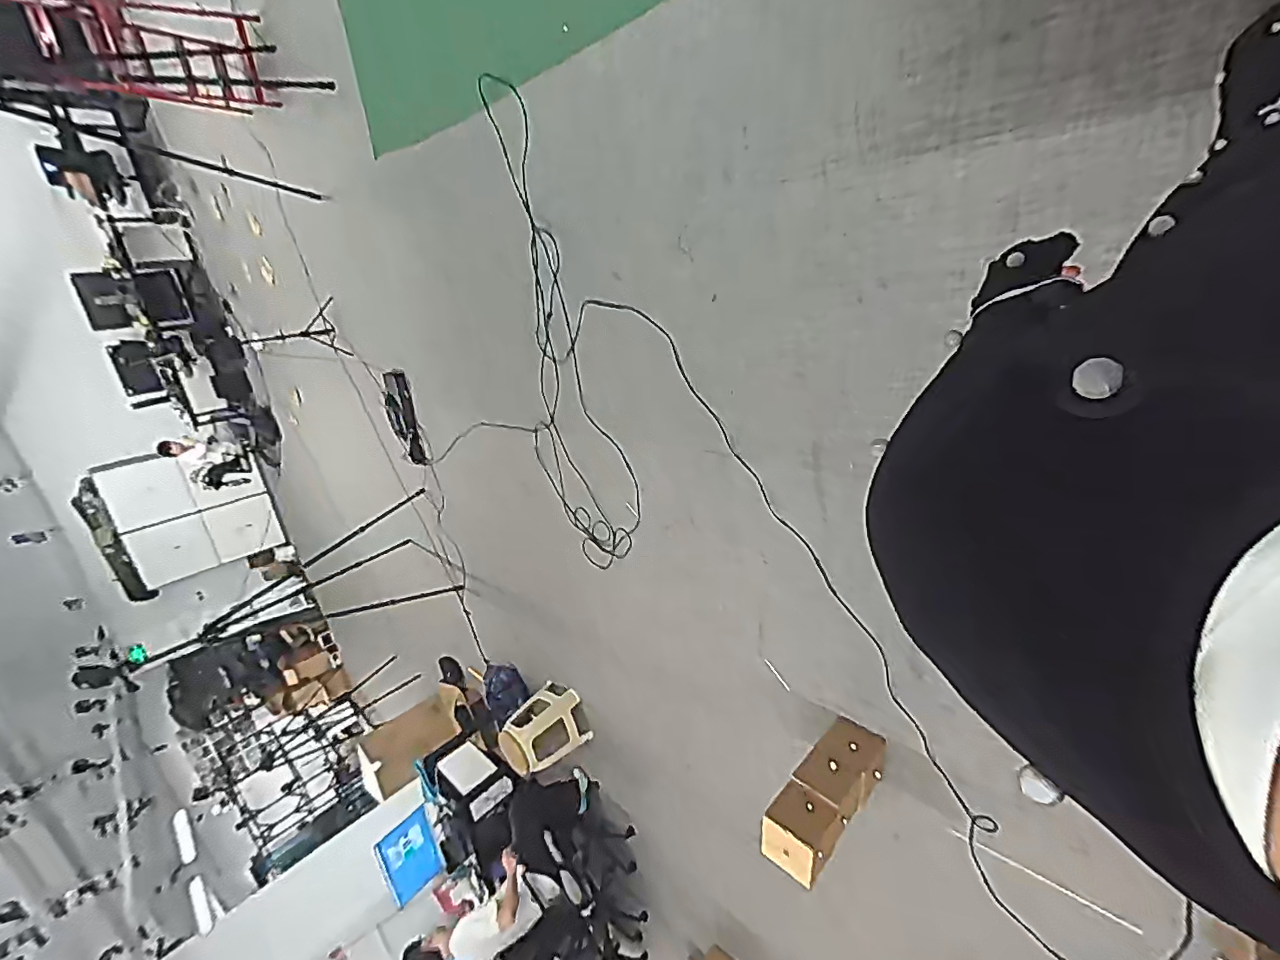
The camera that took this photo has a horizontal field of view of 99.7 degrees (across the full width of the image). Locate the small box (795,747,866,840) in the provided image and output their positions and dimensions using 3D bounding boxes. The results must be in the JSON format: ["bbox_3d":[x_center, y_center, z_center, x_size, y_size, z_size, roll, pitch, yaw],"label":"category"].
[{"bbox_3d":[0.618,1.020,1.759,0.168,0.176,0.179,17,120,42],"label":"small box"}]

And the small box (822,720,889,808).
[{"bbox_3d":[0.737,0.968,1.860,0.179,0.176,0.168,16,120,42],"label":"small box"}]

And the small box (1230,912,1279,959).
[{"bbox_3d":[1.435,1.115,1.179,0.168,0.176,0.179,20,123,39],"label":"small box"}]

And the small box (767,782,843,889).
[{"bbox_3d":[0.507,1.081,1.657,0.168,0.176,0.179,16,120,42],"label":"small box"}]
